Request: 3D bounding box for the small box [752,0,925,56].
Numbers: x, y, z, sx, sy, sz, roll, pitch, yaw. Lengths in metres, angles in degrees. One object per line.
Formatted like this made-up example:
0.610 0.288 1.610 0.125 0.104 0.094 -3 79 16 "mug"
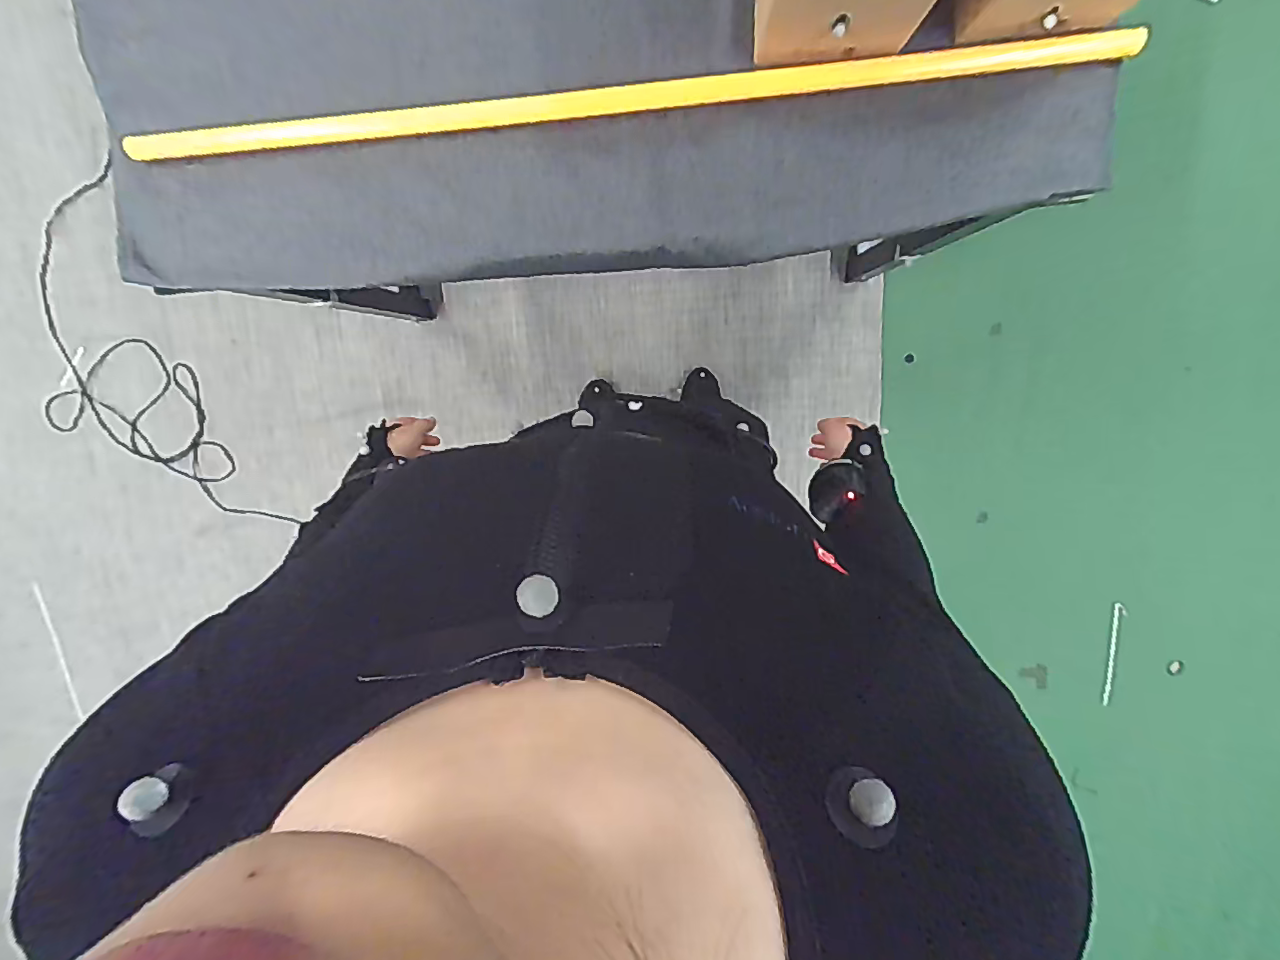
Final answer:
0.206 -0.555 0.534 0.168 0.176 0.179 -1 102 3 "small box"
